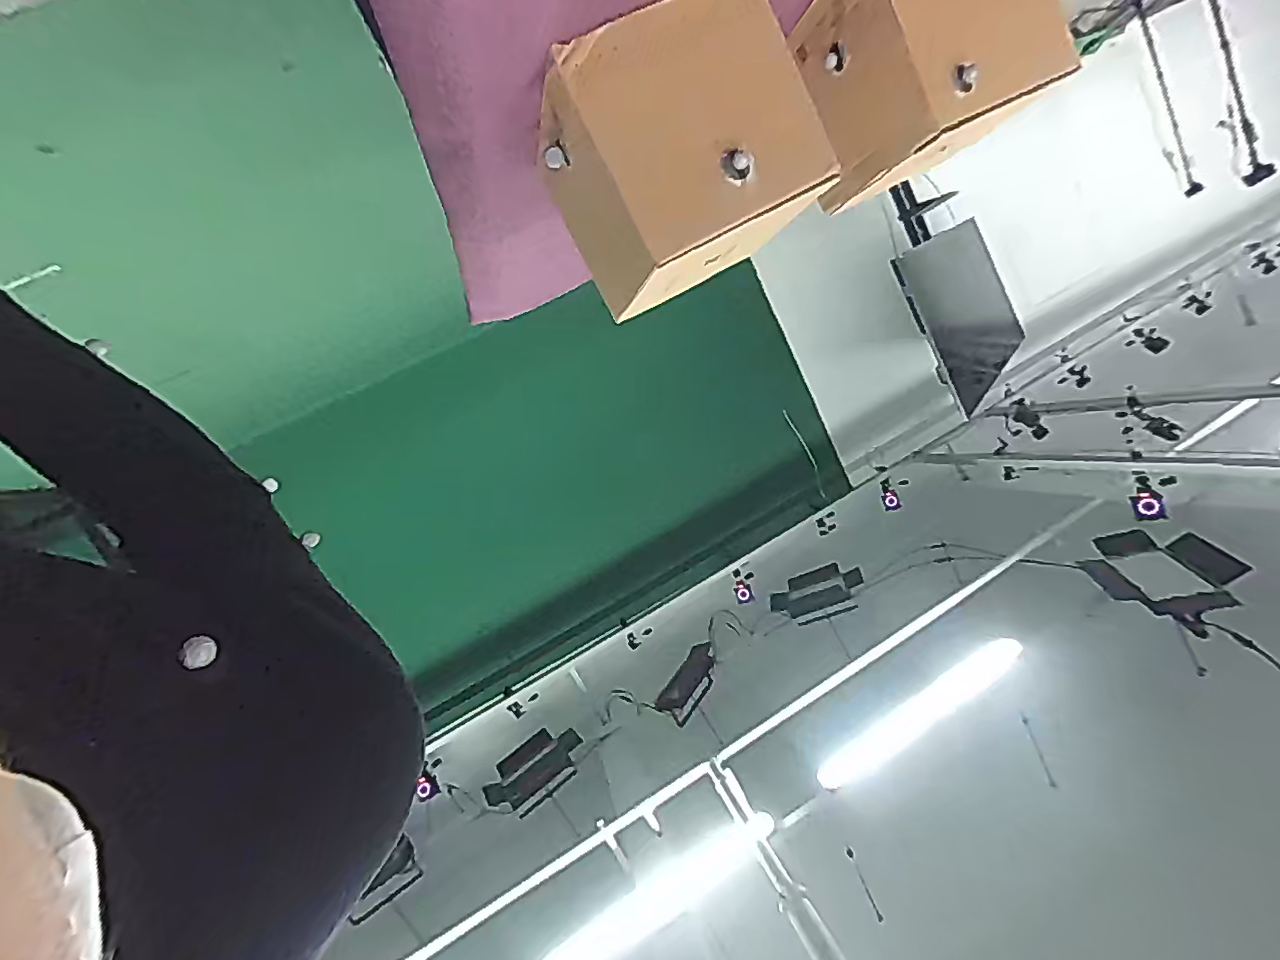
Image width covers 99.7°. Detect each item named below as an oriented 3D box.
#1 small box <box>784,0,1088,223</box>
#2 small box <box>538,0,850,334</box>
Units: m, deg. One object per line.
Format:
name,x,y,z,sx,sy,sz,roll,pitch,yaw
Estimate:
small box,0.266,-0.390,0.521,0.179,0.176,0.168,-28,-172,-11
small box,0.033,-0.255,0.464,0.179,0.176,0.168,-30,-172,-10
